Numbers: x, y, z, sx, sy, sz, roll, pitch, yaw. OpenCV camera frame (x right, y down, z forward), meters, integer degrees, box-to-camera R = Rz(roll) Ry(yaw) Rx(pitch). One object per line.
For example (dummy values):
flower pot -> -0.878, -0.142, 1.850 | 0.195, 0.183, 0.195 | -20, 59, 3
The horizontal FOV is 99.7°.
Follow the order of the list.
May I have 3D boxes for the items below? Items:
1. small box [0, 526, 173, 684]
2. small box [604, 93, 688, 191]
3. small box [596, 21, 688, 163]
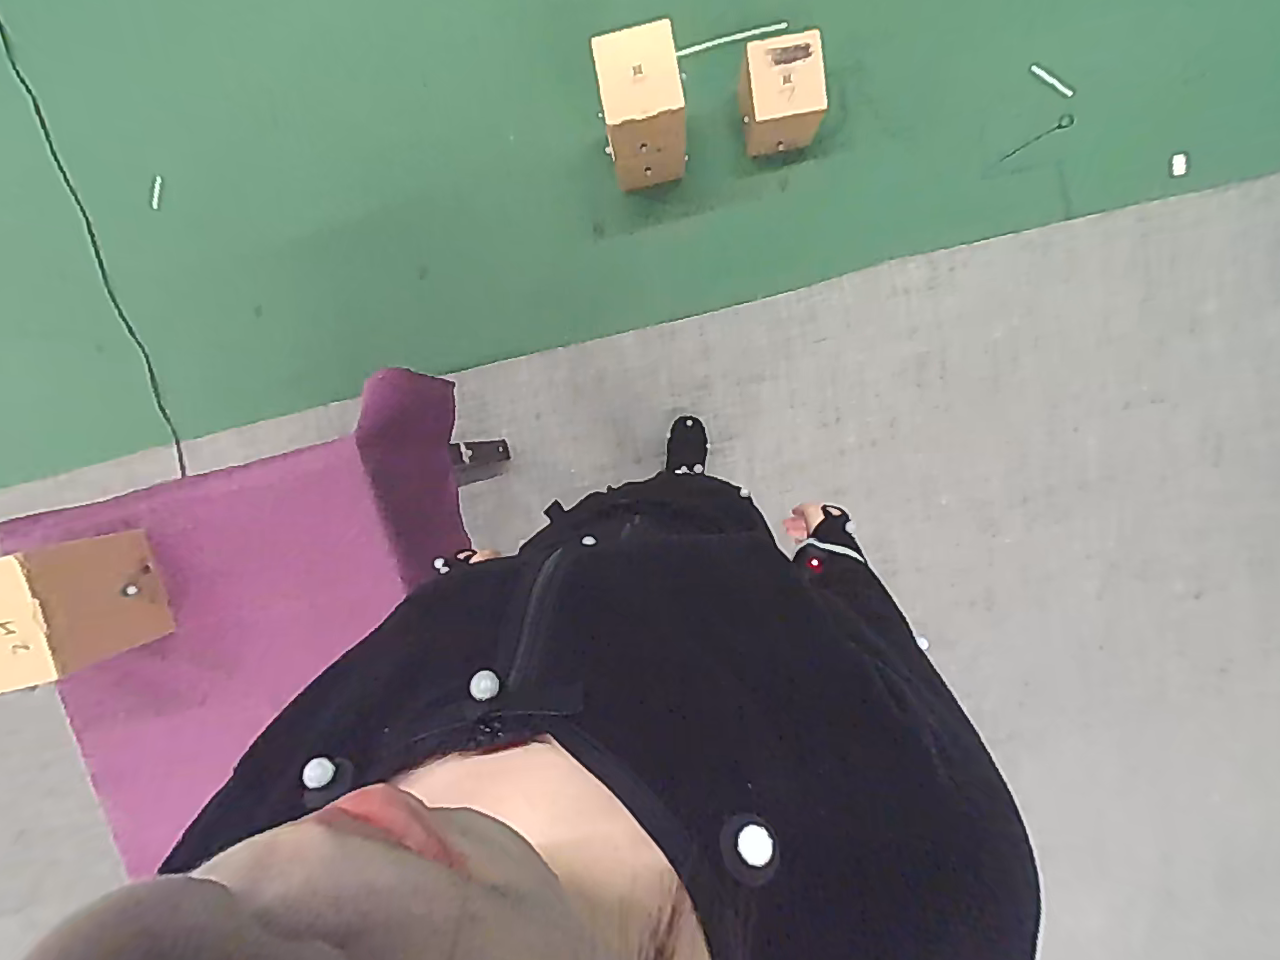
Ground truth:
small box -> -0.821, 0.171, 0.753 | 0.179, 0.176, 0.168 | -13, 95, 2
small box -> 0.019, -0.850, 1.340 | 0.179, 0.176, 0.168 | -10, 94, 6
small box -> 0.008, -0.833, 1.178 | 0.168, 0.176, 0.179 | -10, 94, 5
